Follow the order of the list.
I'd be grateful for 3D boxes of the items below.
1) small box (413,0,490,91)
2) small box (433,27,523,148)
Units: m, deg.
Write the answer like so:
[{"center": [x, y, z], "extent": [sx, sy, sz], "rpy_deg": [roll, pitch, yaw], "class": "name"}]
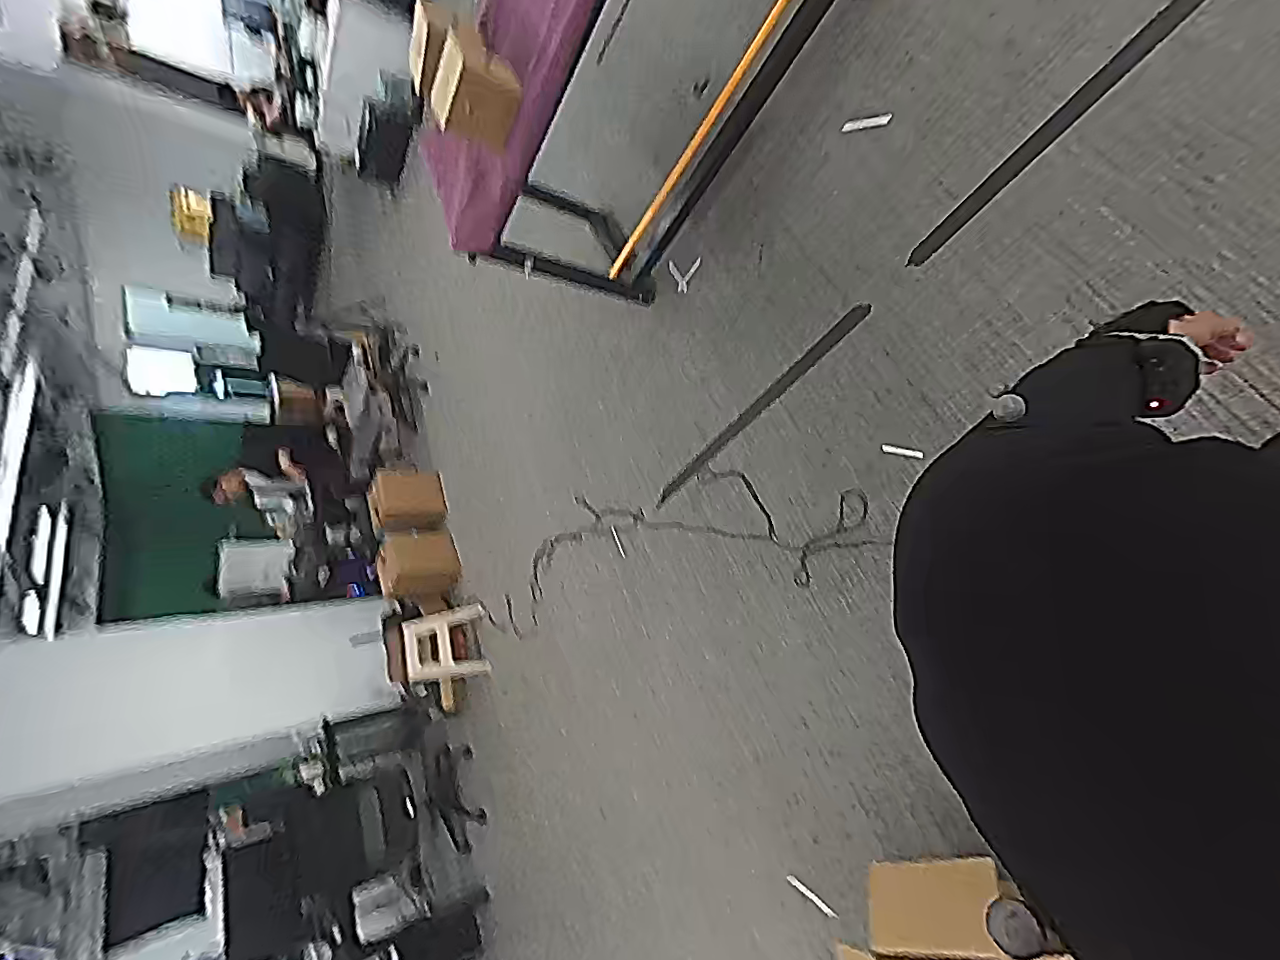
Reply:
[{"center": [-0.553, -1.251, 1.573], "extent": [0.179, 0.168, 0.176], "rpy_deg": [-49, 53, 46], "class": "small box"}, {"center": [-0.429, -1.040, 1.445], "extent": [0.179, 0.176, 0.168], "rpy_deg": [-49, 55, 38], "class": "small box"}]
